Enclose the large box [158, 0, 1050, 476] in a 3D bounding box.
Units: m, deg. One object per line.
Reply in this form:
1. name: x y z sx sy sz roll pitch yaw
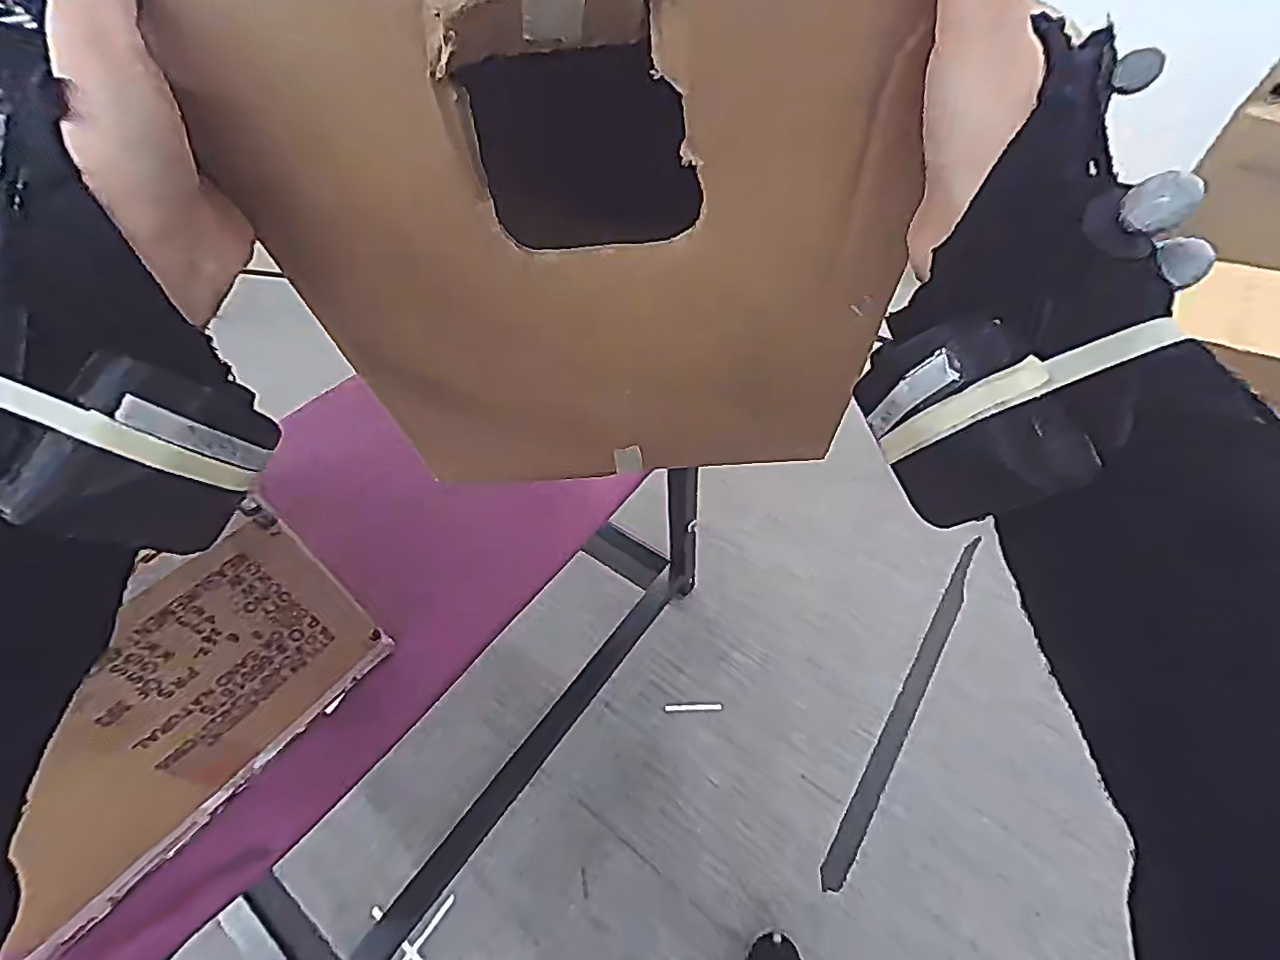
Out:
1. large box: -0.011 -0.257 0.401 0.320 0.320 0.408 -5 59 2
